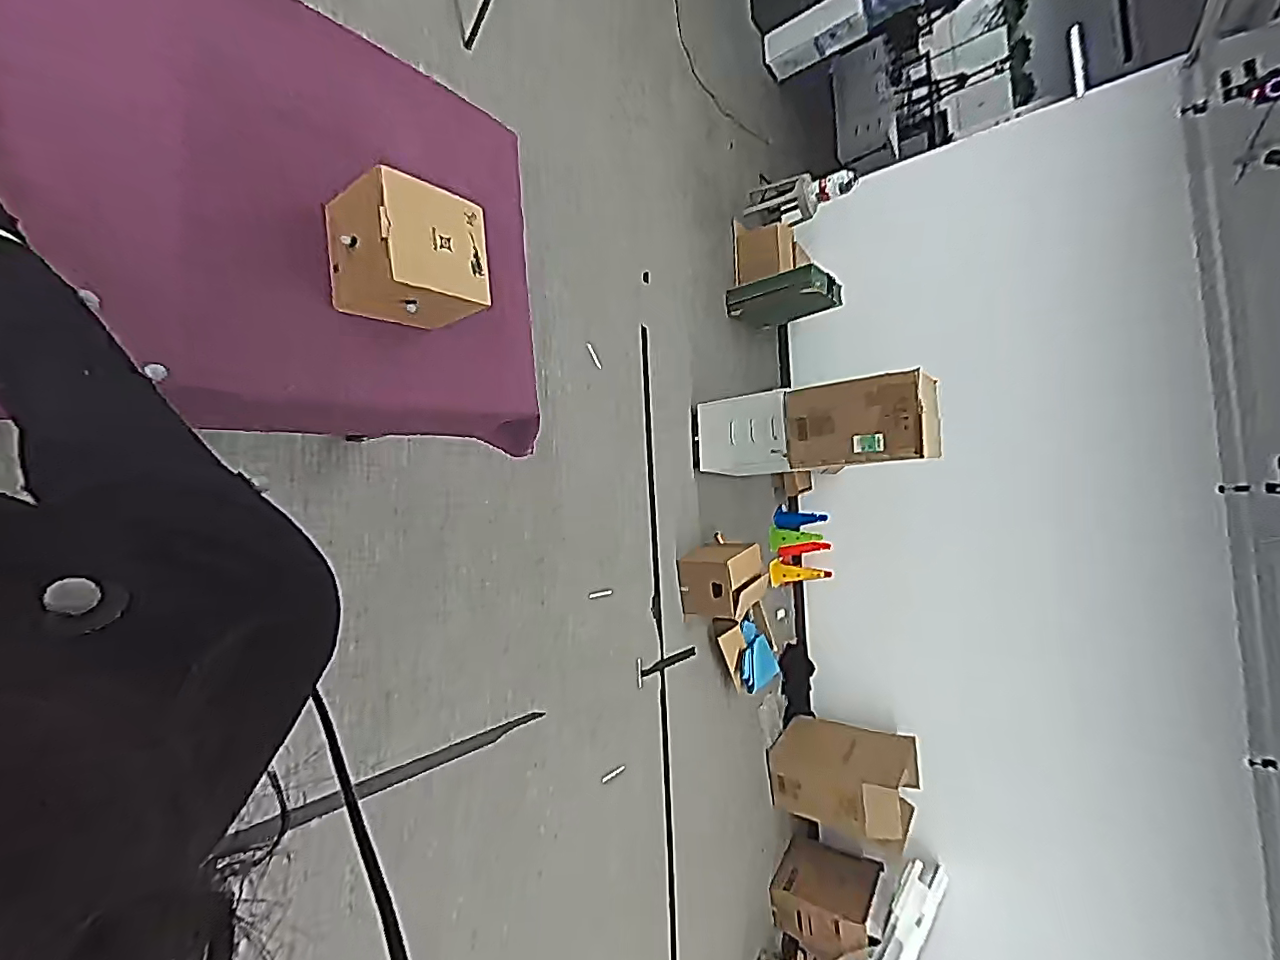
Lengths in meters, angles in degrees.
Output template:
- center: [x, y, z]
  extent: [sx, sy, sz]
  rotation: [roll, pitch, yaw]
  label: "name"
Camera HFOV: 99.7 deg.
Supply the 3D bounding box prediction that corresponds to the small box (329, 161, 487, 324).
- center: [-0.371, -0.358, 0.858]
  extent: [0.179, 0.176, 0.168]
  rotation: [-5, 90, -54]
  label: "small box"
